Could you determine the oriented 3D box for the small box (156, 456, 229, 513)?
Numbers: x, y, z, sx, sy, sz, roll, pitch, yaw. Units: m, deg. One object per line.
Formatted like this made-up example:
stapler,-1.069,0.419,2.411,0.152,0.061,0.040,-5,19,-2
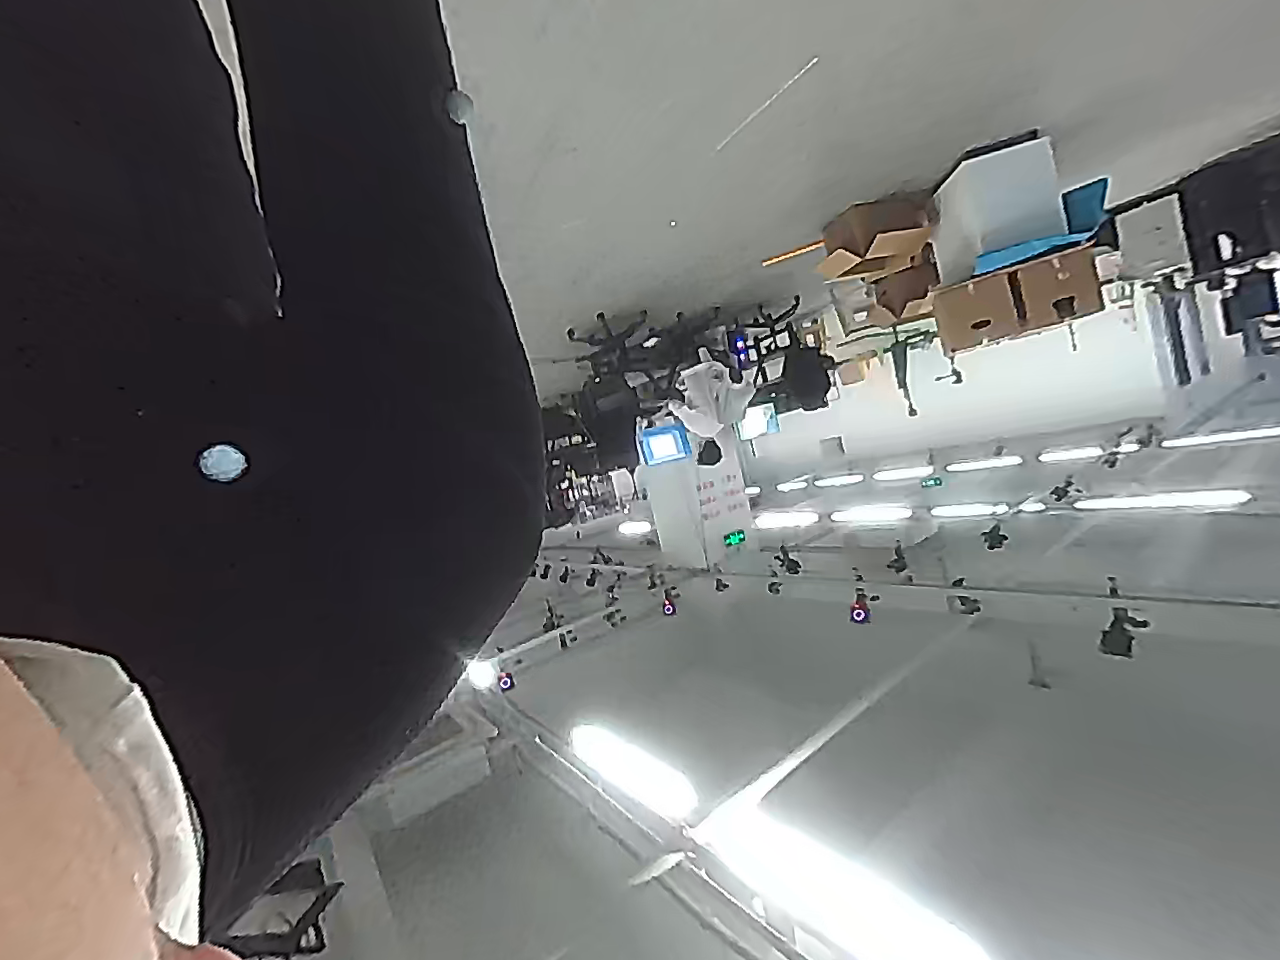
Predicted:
small box,-1.600,0.015,1.939,0.168,0.176,0.179,-16,-178,-35
